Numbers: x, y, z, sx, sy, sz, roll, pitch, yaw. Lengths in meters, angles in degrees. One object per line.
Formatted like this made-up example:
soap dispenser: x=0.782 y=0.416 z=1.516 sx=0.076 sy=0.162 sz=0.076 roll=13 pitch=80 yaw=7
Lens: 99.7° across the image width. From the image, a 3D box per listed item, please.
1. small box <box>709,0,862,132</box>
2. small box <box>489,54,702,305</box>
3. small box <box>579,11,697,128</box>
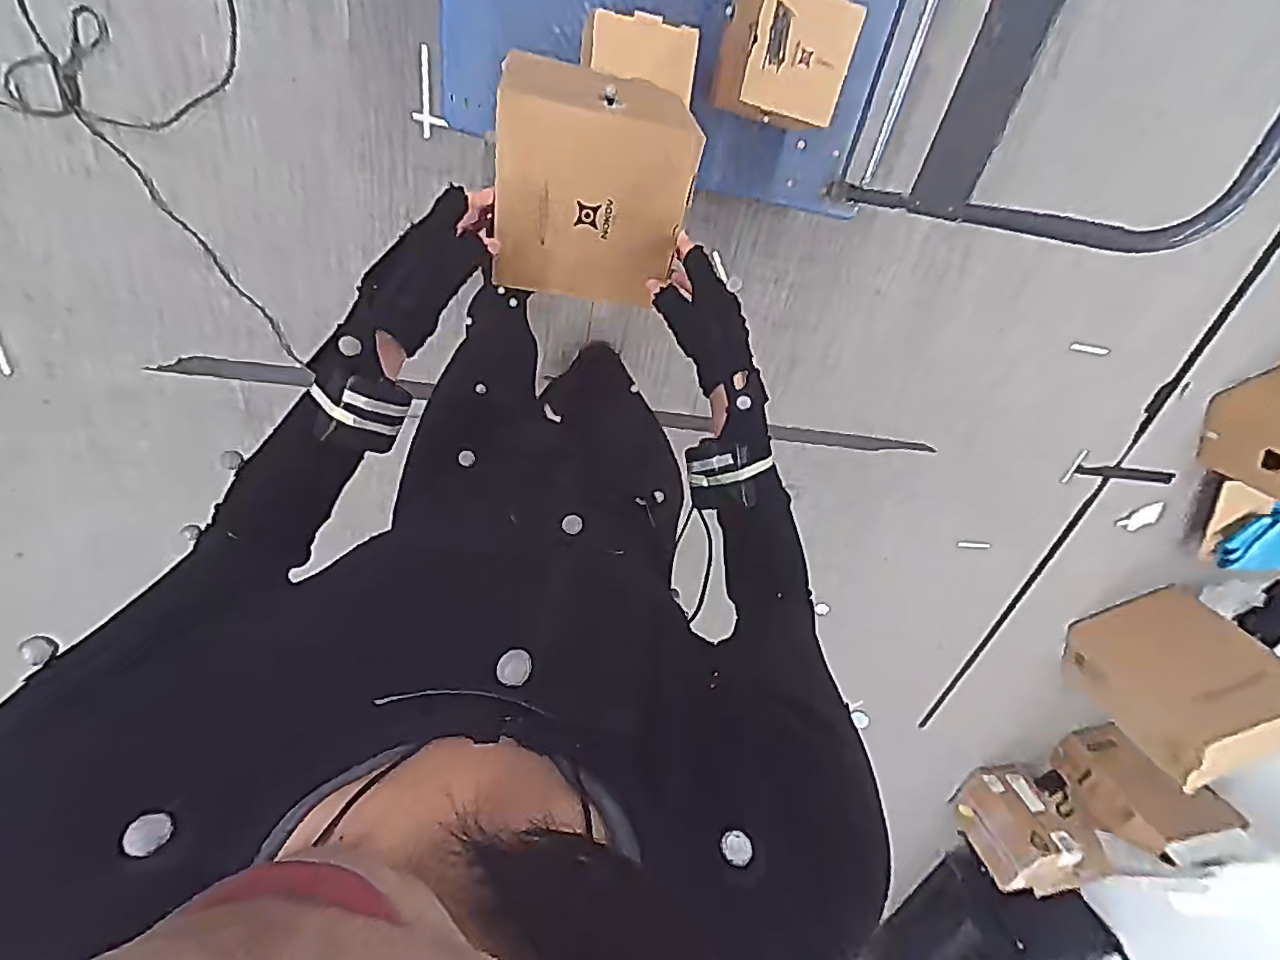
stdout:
small box: x=0.238 y=-0.721 z=0.942 sx=0.179 sy=0.176 sz=0.168 roll=6 pitch=120 yaw=-17
small box: x=-0.057 y=-0.306 z=0.554 sx=0.179 sy=0.176 sz=0.168 roll=4 pitch=135 yaw=-14
small box: x=-0.017 y=-0.656 z=0.923 sx=0.168 sy=0.176 sz=0.179 roll=1 pitch=121 yaw=-14
